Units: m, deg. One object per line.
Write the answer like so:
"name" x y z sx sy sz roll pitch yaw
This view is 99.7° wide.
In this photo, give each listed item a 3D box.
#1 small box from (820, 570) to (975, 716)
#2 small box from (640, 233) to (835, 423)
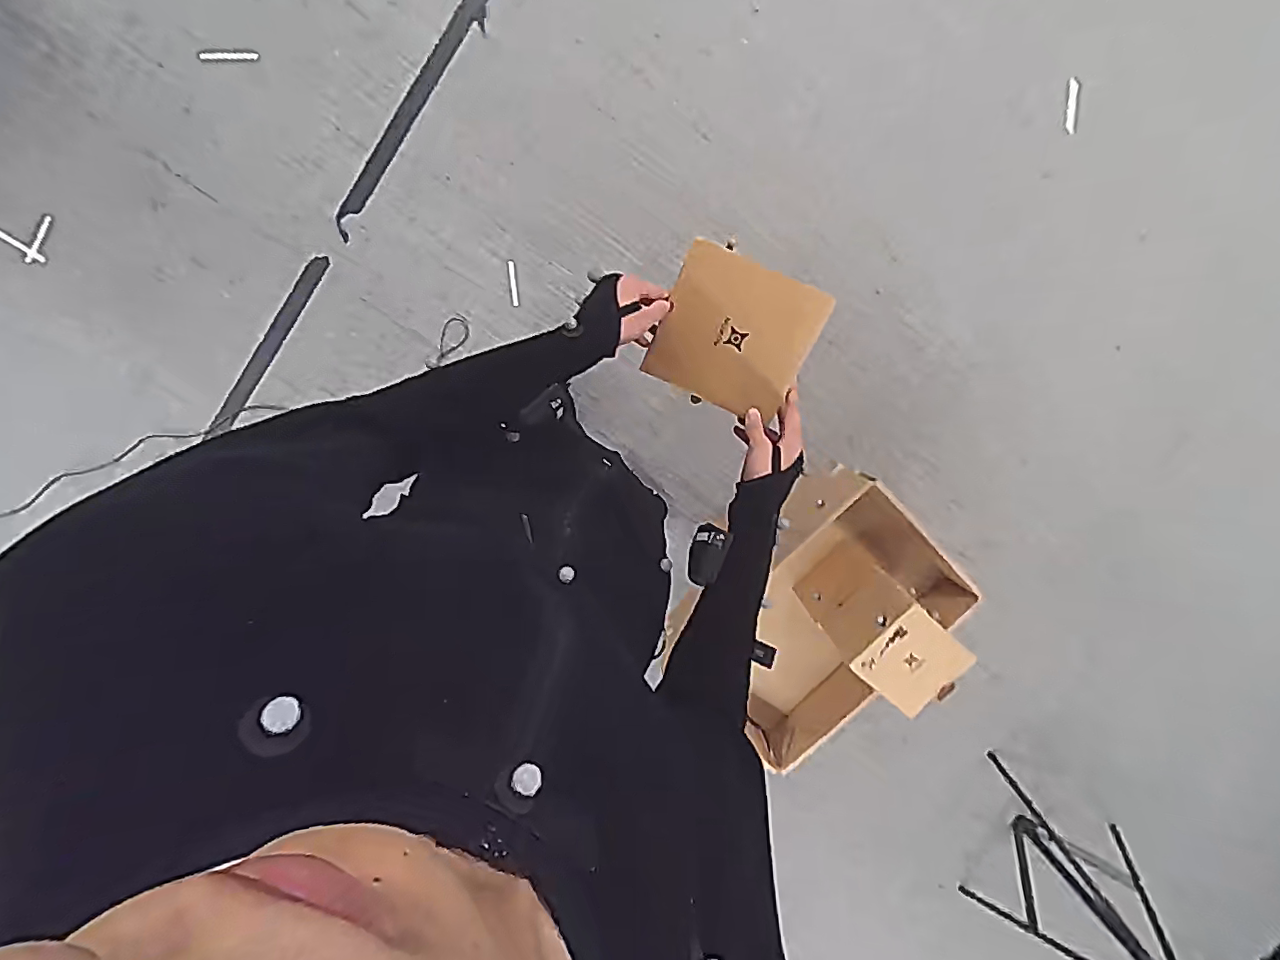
"small box" 0.487 0.305 1.046 0.179 0.176 0.168 41 100 -12
"small box" 0.124 -0.200 0.695 0.179 0.176 0.168 26 115 3
